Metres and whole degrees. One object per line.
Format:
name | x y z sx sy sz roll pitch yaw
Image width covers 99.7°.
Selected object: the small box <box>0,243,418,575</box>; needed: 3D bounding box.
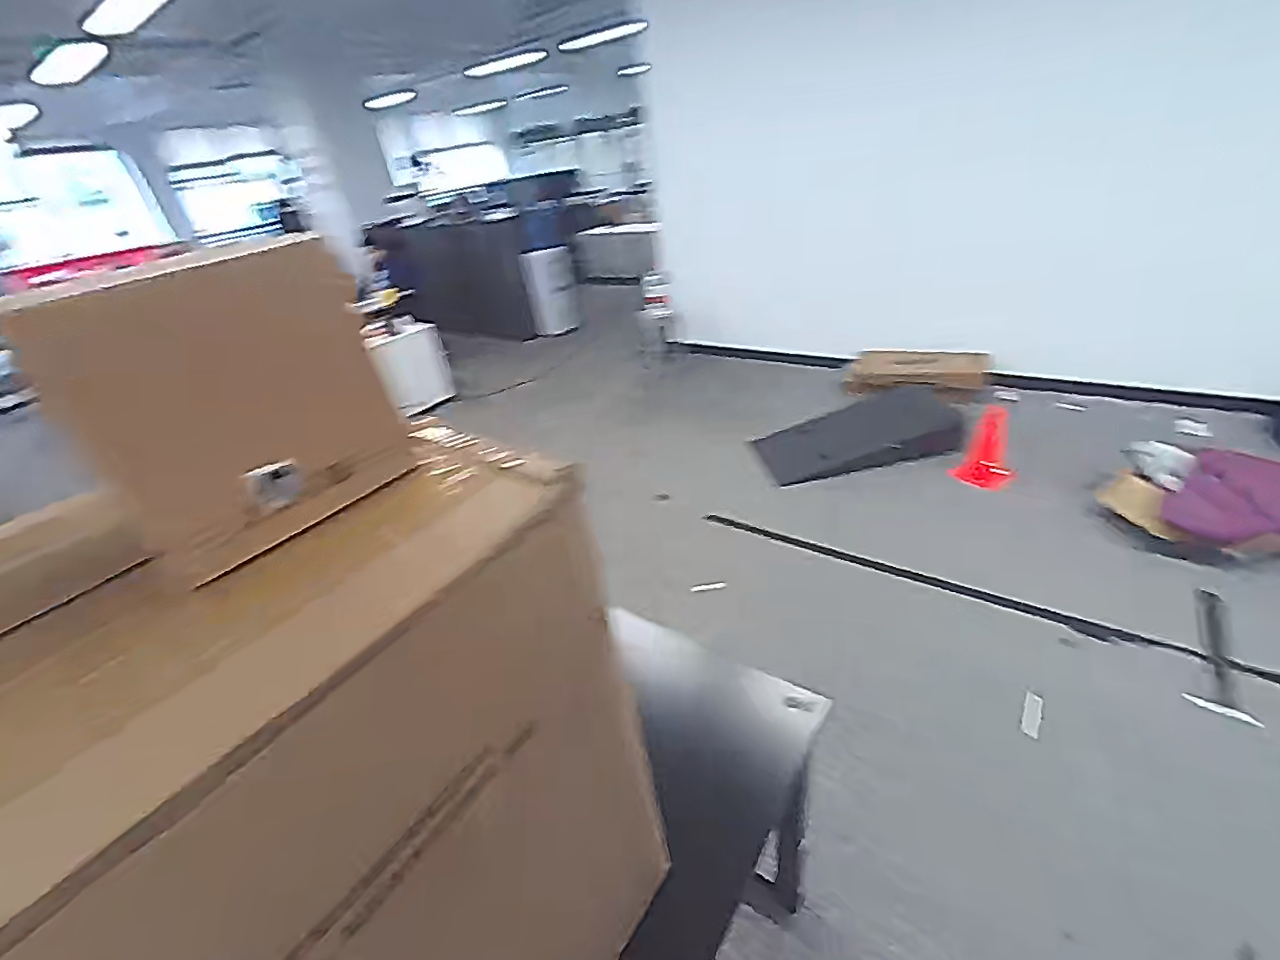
small box | -0.297 -0.059 0.385 0.179 0.176 0.168 16 41 34
